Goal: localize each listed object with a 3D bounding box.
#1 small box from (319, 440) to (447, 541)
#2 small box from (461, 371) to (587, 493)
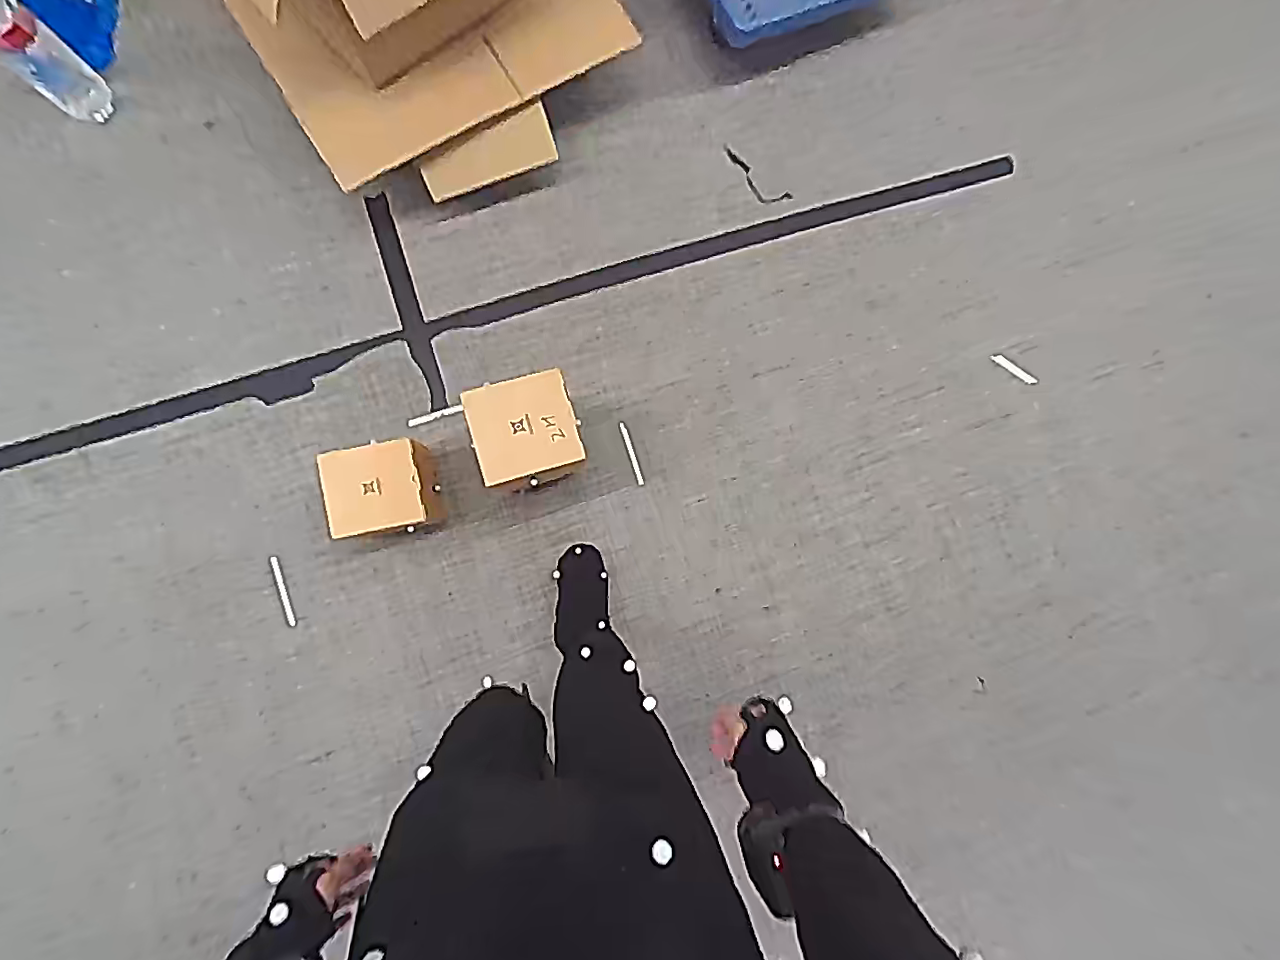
[{"bbox_3d":[-0.514,0.027,1.100,0.179,0.176,0.168,-12,86,-8],"label":"small box"},{"bbox_3d":[-0.202,-0.077,0.980,0.179,0.176,0.168,-16,88,-9],"label":"small box"}]
